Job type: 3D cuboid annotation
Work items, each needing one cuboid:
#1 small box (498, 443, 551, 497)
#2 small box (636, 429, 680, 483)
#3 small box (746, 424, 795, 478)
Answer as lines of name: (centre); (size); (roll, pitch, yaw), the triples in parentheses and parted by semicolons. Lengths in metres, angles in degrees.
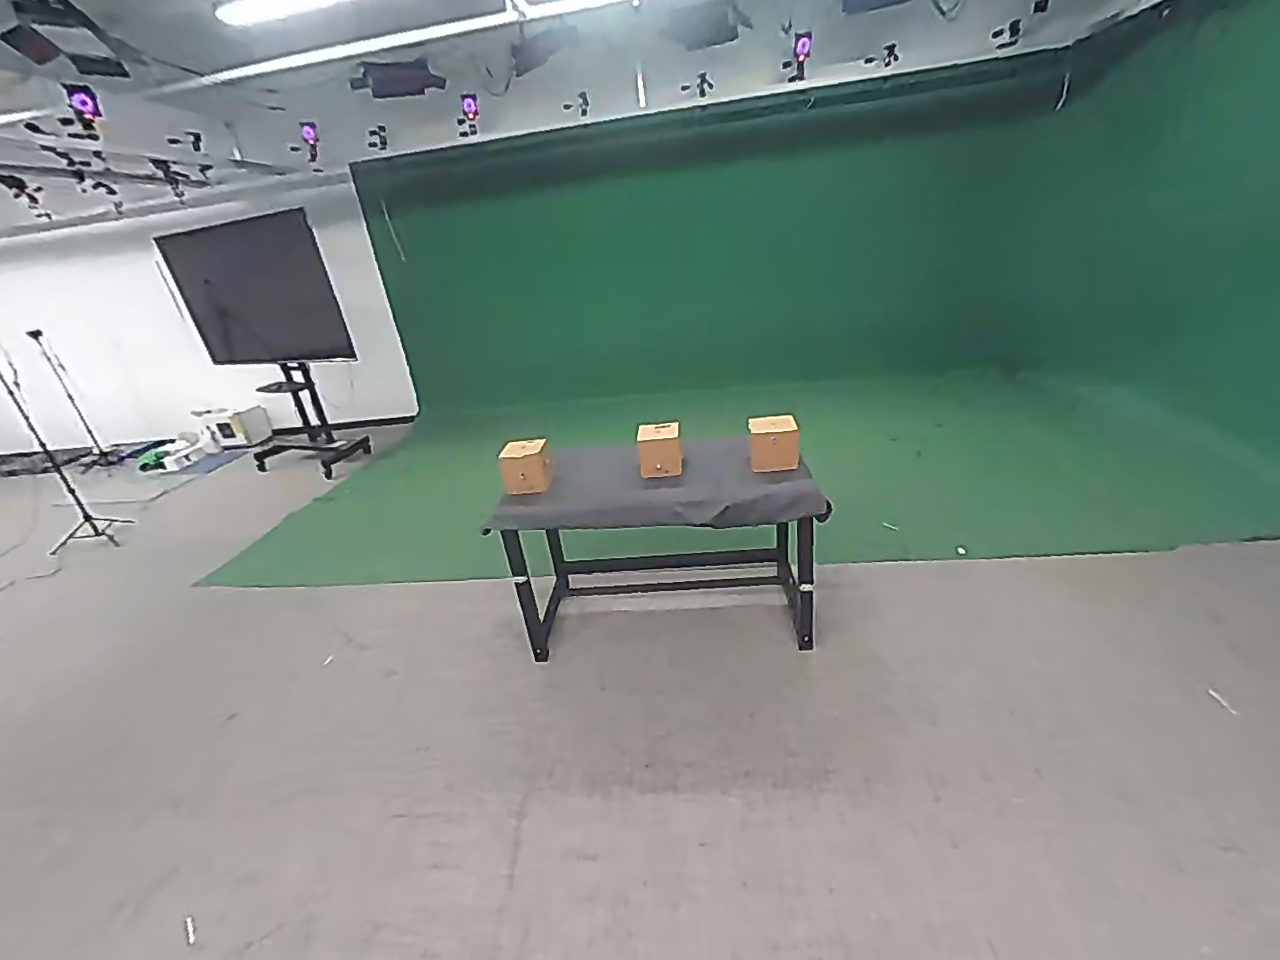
small box: (-0.471, -0.038, 2.237); (0.168, 0.176, 0.179); (-4, 25, 4)
small box: (0.078, -0.101, 2.237); (0.168, 0.176, 0.179); (-4, 25, 6)
small box: (0.517, -0.114, 2.155); (0.179, 0.176, 0.168); (-2, 26, 7)
